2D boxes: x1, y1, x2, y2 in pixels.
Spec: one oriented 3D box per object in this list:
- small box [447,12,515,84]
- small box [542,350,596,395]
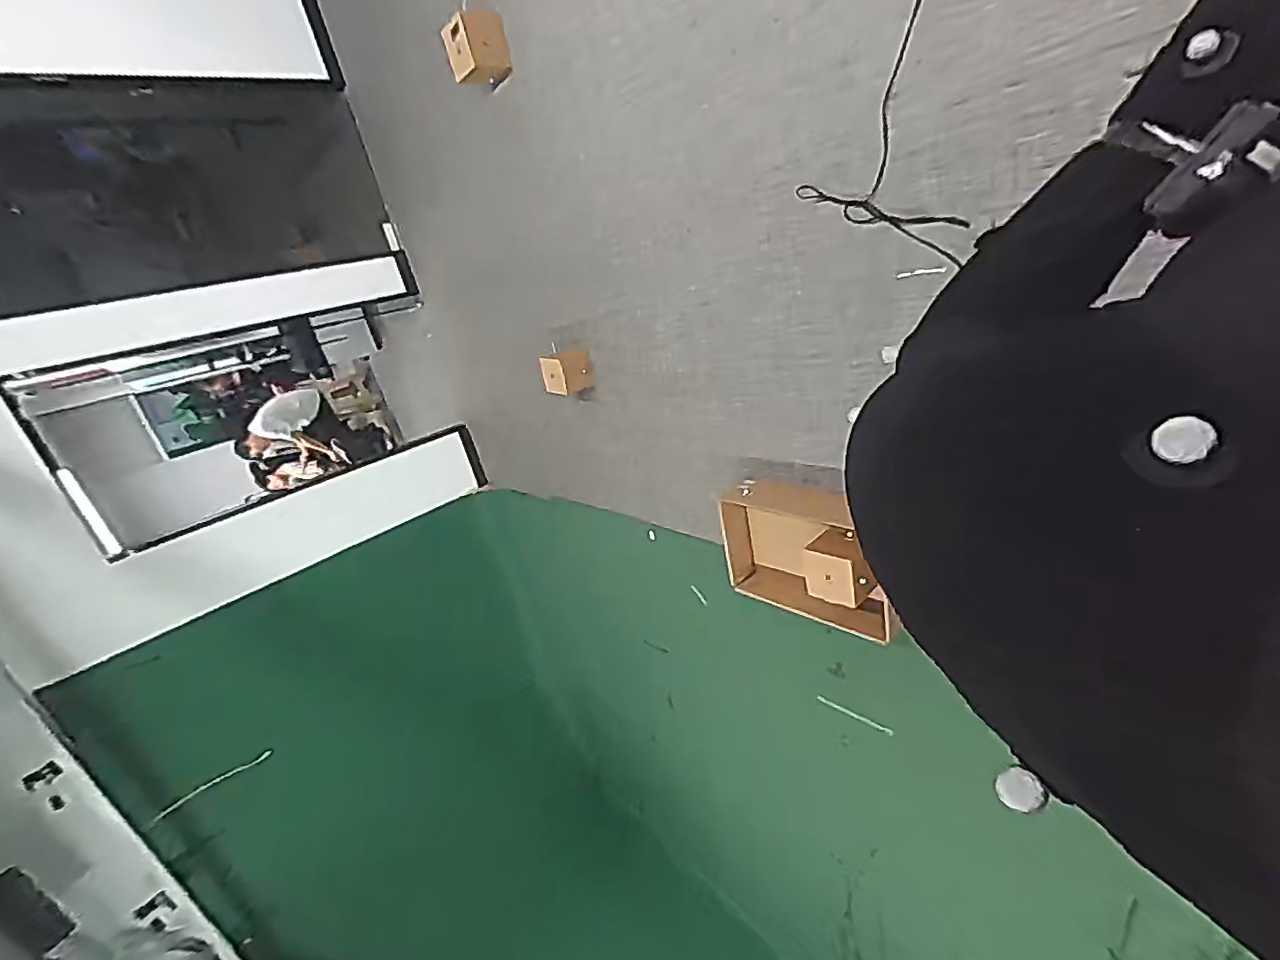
[{"bbox_3d":[-0.614,-1.670,2.101,0.168,0.176,0.179,12,123,48],"label":"small box"},{"bbox_3d":[-0.331,-0.508,2.532,0.179,0.176,0.168,18,127,45],"label":"small box"}]
